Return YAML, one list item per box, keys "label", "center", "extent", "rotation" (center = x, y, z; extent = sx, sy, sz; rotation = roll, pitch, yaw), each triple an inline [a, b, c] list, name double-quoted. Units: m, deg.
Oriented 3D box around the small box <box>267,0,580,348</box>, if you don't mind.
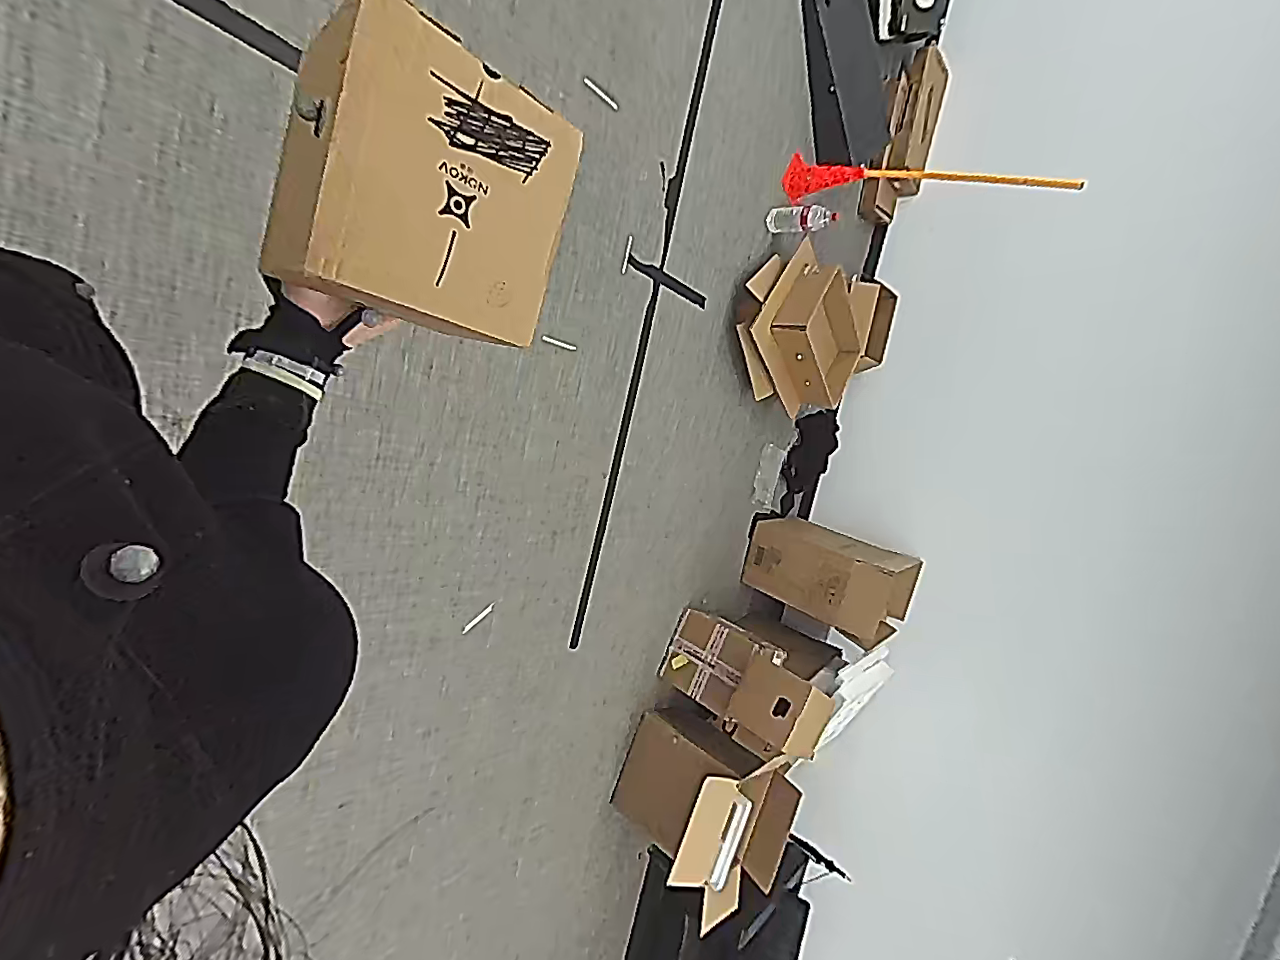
- label: "small box"
  center: [-0.180, -0.224, 0.438]
  extent: [0.168, 0.176, 0.179]
  rotation: [10, 99, -45]
